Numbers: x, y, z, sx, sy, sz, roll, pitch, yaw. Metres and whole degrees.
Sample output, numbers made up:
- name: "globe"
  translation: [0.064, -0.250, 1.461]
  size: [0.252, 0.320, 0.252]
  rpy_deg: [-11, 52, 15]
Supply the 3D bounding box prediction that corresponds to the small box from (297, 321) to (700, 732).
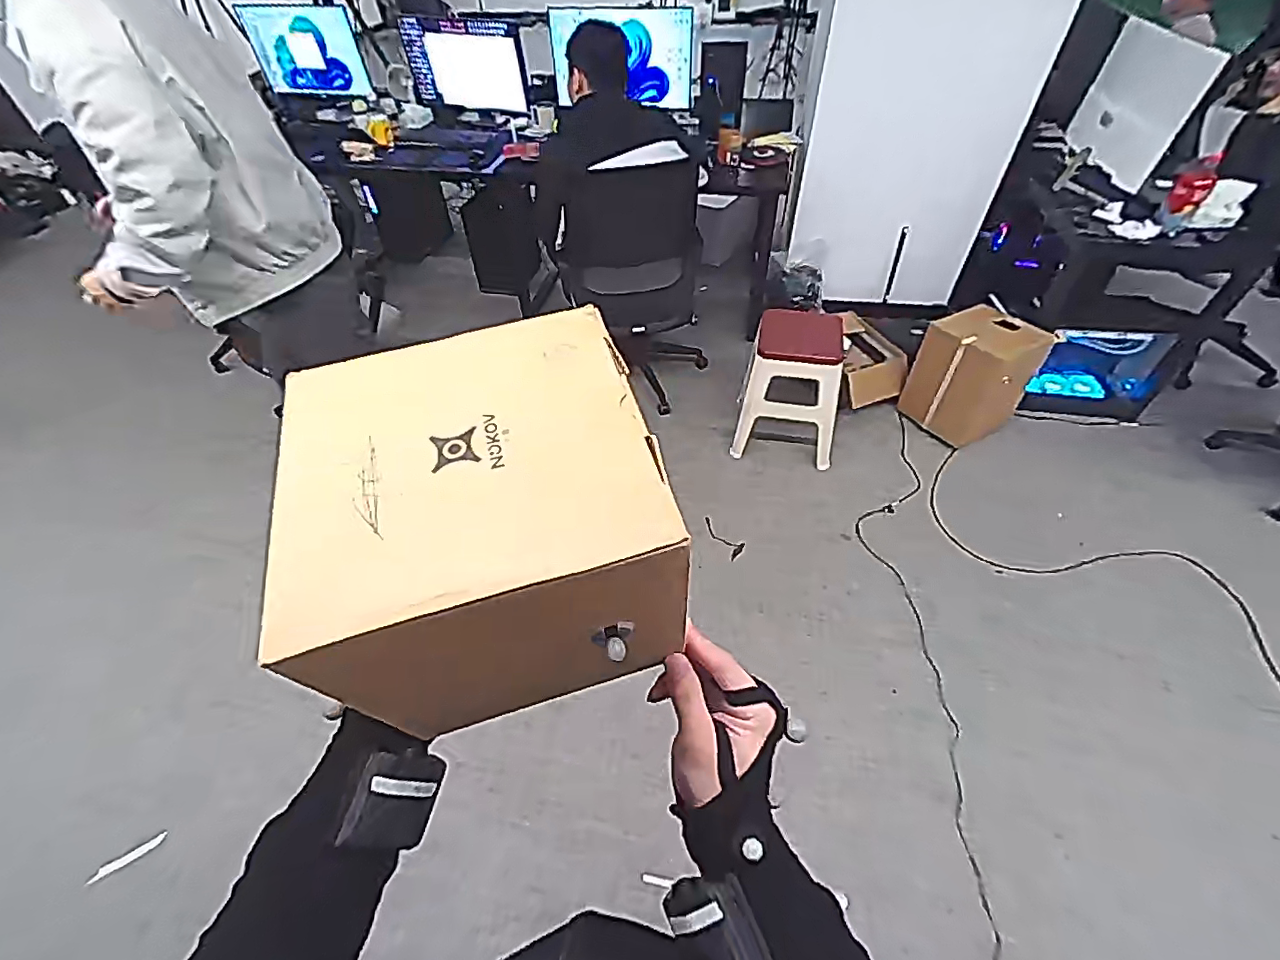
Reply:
- name: "small box"
  translation: [-0.075, 0.035, 0.338]
  size: [0.179, 0.176, 0.168]
  rpy_deg: [-16, 55, -7]
